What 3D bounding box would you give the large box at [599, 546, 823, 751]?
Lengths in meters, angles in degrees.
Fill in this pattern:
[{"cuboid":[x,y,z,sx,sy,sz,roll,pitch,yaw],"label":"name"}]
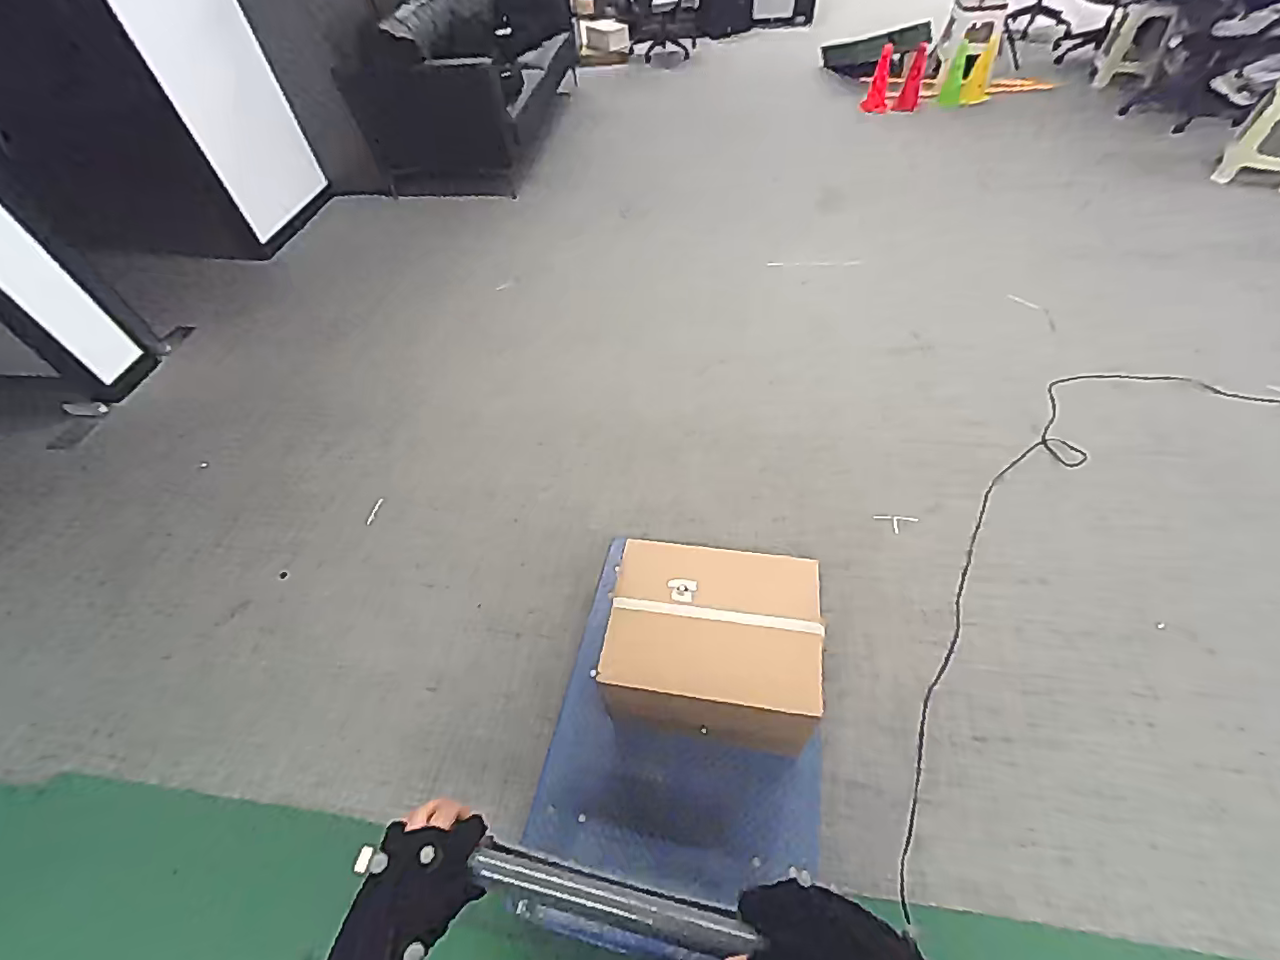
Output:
[{"cuboid":[0.158,0.365,1.166,0.408,0.320,0.320,4,51,10],"label":"large box"}]
